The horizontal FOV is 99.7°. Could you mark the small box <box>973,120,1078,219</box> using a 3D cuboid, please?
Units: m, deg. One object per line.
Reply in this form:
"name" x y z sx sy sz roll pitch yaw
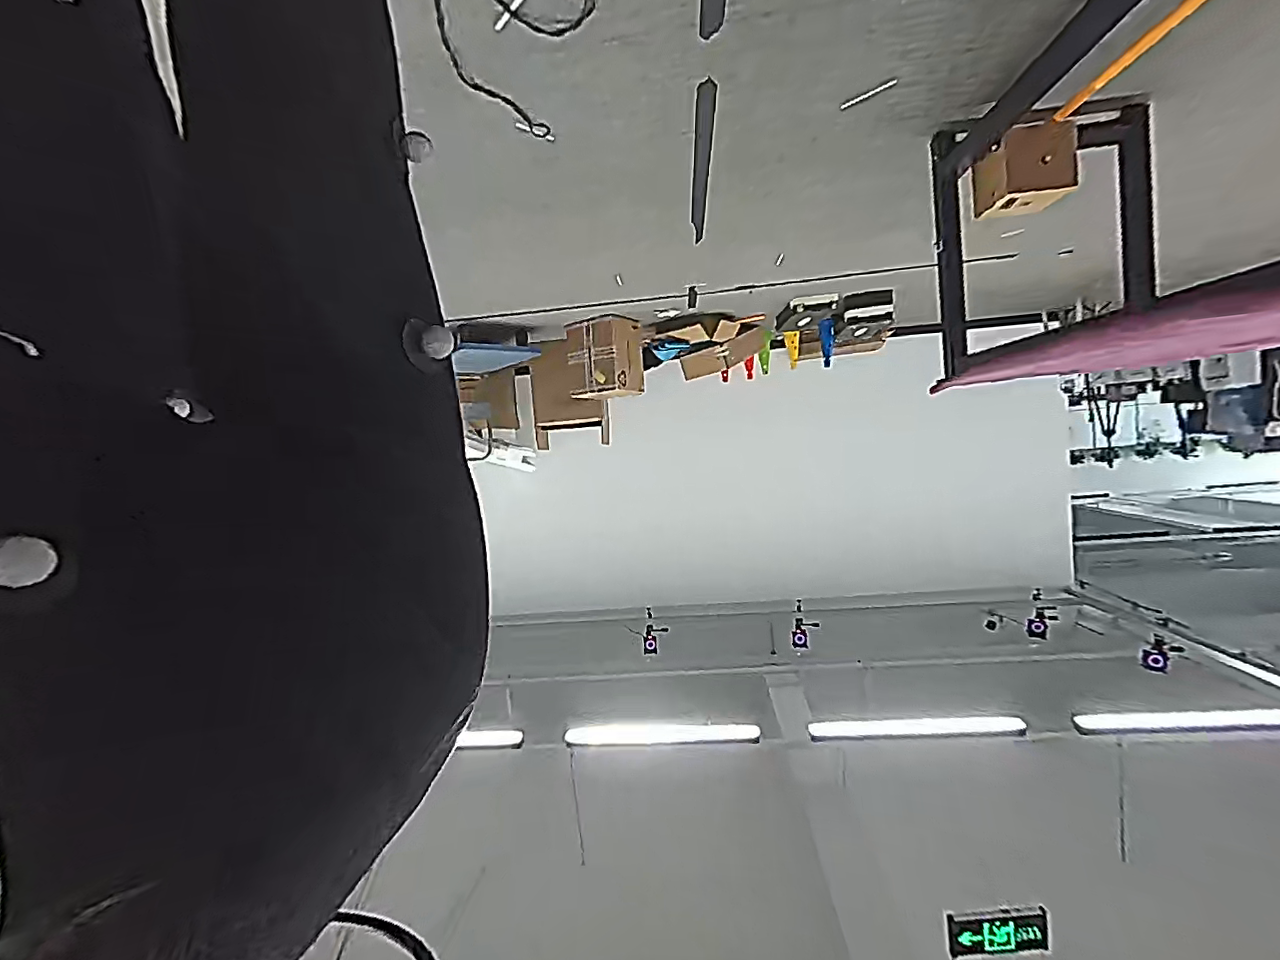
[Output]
"small box" 1.025 -0.830 1.453 0.179 0.176 0.168 -5 -177 5
